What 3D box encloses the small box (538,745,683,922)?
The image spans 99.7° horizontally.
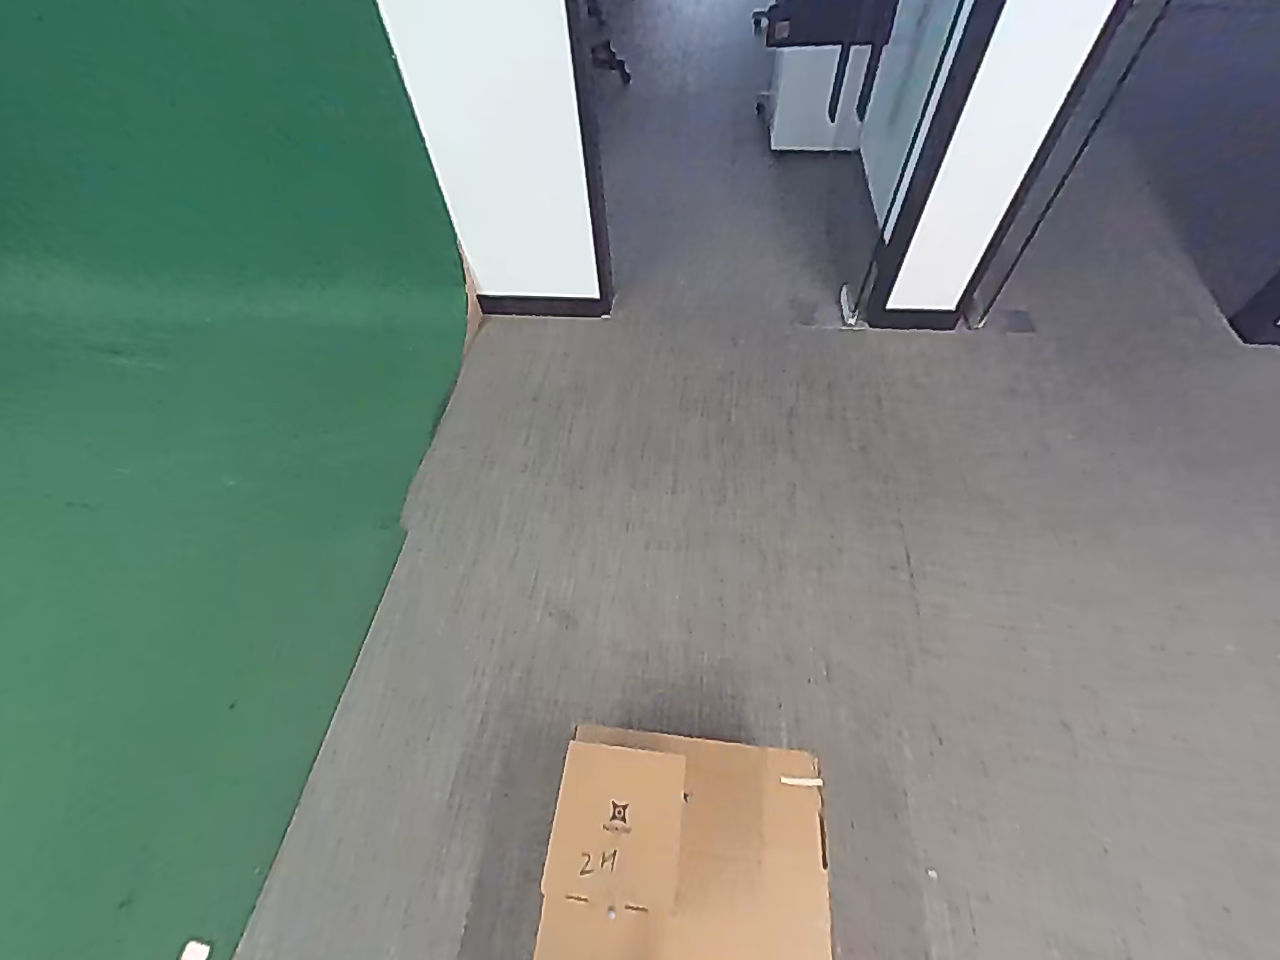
[{"bbox_3d":[-0.031,0.494,0.755,0.168,0.176,0.179,4,51,7],"label":"small box"}]
